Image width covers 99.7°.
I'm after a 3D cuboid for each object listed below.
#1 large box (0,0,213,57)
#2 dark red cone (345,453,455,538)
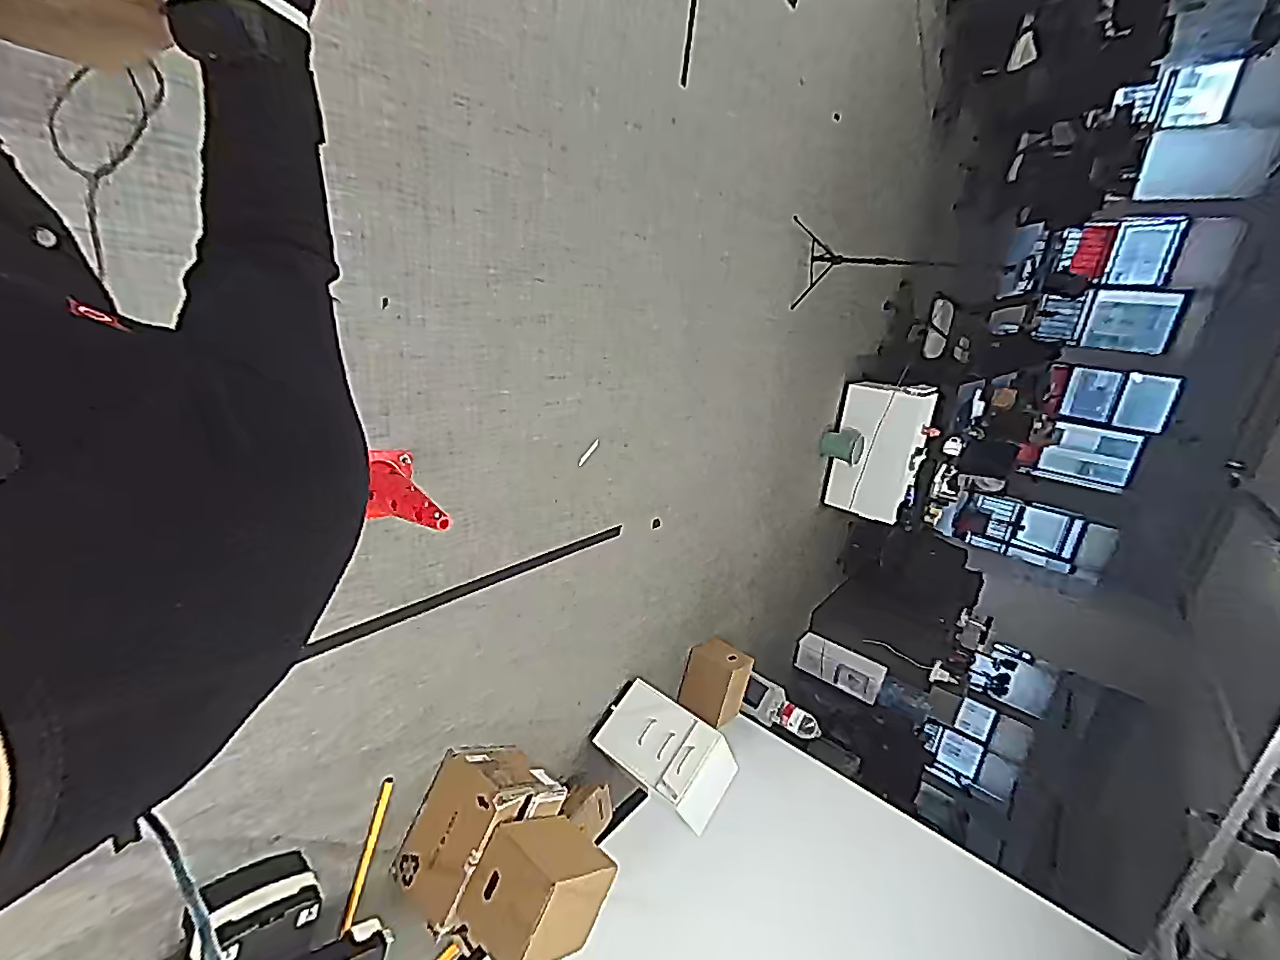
[{"bbox_3d":[-0.503,-0.472,0.247,0.408,0.320,0.320,-14,121,-51],"label":"large box"},{"bbox_3d":[-0.608,0.065,1.431,0.201,0.394,0.202,-7,112,-50],"label":"dark red cone"}]
